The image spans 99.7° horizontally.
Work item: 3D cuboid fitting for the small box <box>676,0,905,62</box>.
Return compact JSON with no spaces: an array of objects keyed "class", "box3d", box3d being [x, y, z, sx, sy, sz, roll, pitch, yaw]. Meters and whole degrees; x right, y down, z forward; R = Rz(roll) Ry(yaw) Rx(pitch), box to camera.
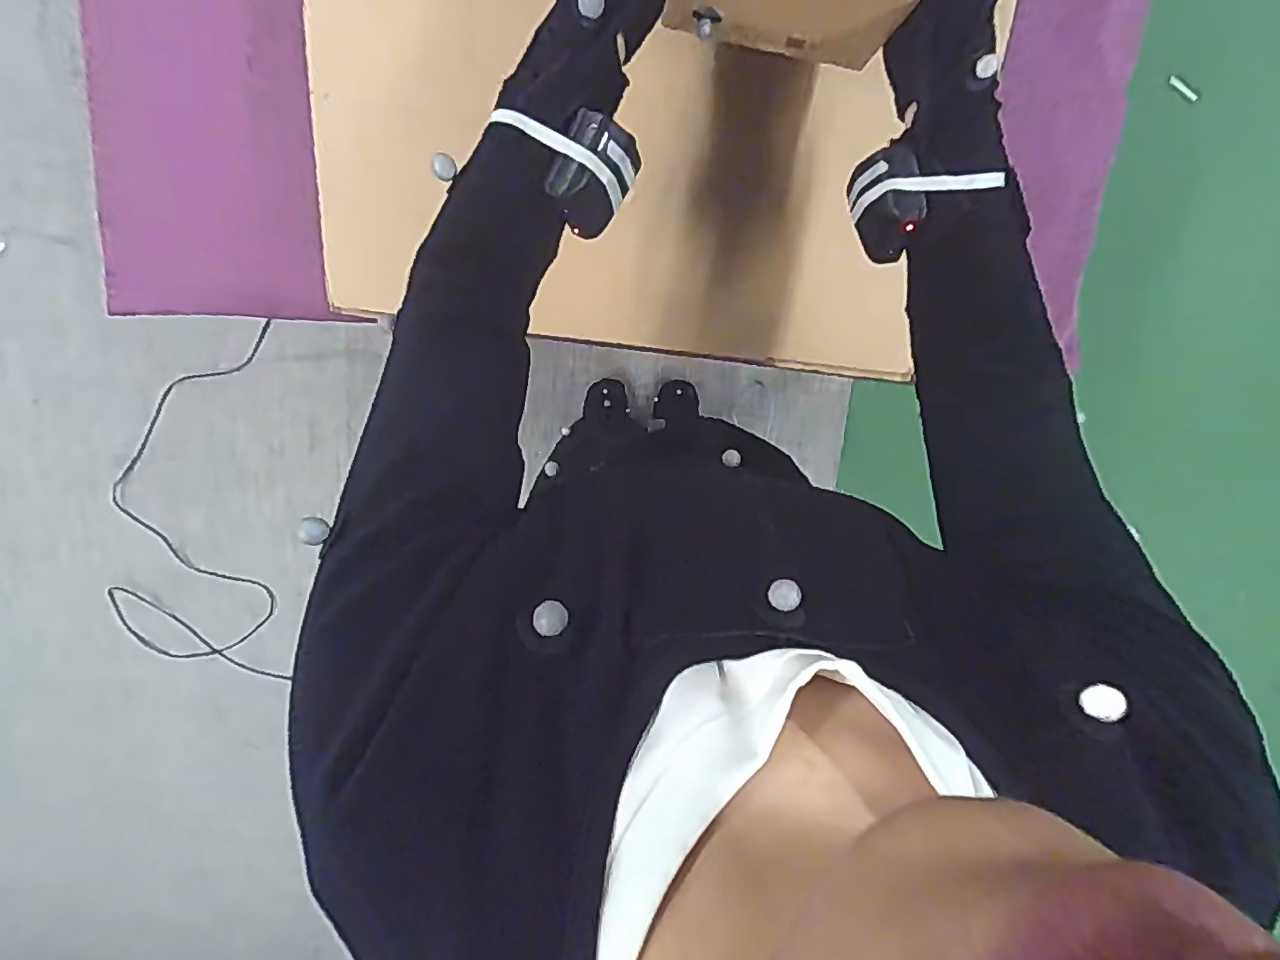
[{"class":"small box","box3d":[0.113,-0.405,0.333,0.168,0.176,0.179,10,104,-4]}]
